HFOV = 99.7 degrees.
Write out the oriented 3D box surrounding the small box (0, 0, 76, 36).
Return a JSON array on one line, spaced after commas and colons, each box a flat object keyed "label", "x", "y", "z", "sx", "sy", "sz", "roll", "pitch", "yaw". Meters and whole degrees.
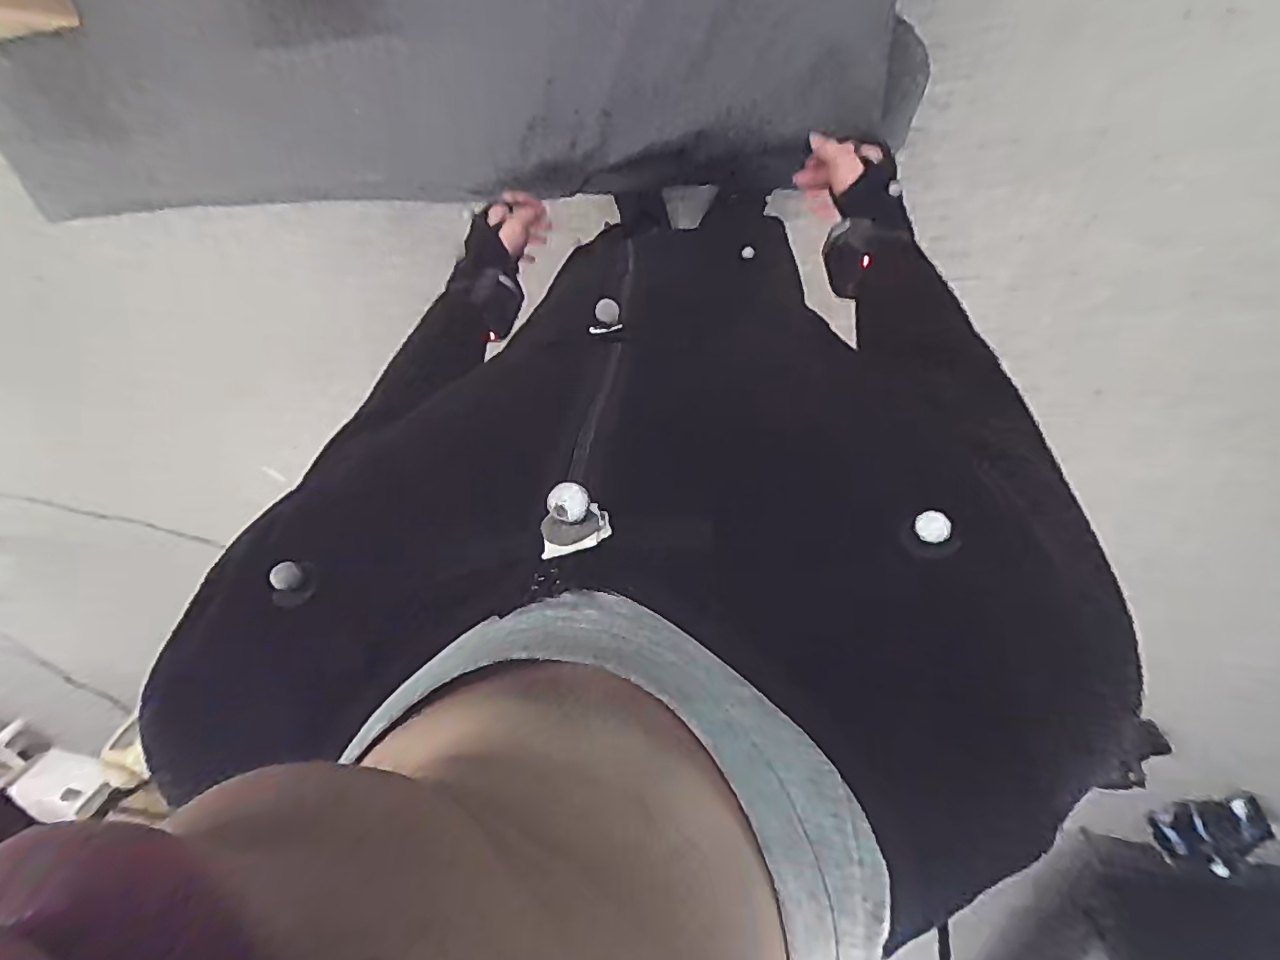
[{"label": "small box", "x": -0.789, "y": -0.599, "z": 0.572, "sx": 0.168, "sy": 0.176, "sz": 0.179, "roll": 2, "pitch": 124, "yaw": 12}]
